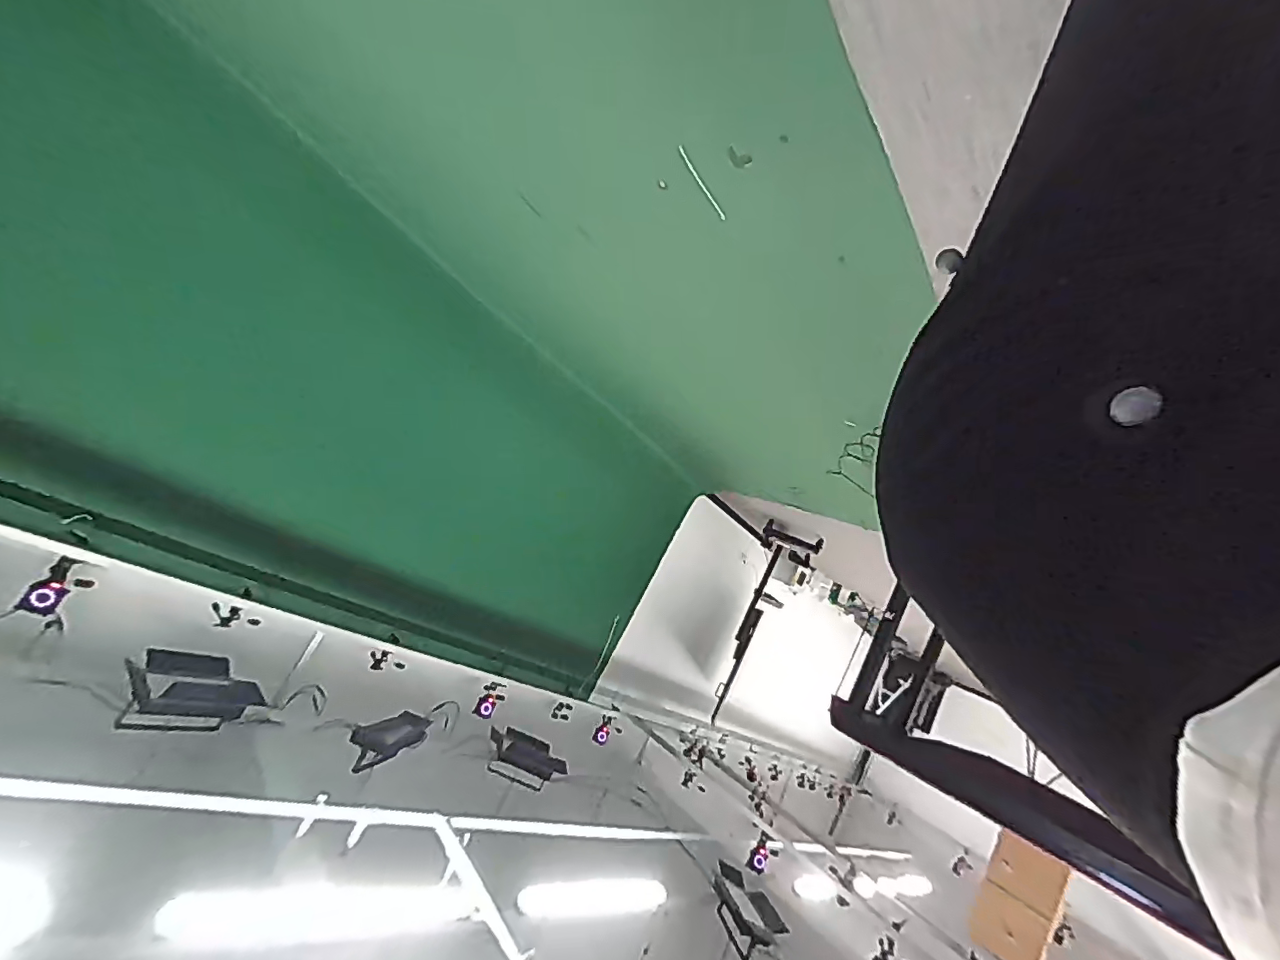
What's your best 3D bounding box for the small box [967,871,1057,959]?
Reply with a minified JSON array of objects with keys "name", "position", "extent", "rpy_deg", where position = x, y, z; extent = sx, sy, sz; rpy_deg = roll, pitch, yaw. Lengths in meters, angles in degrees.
[{"name":"small box","position":[1.088,1.287,1.573],"extent":[0.179,0.176,0.168],"rpy_deg":[17,165,47]}]
